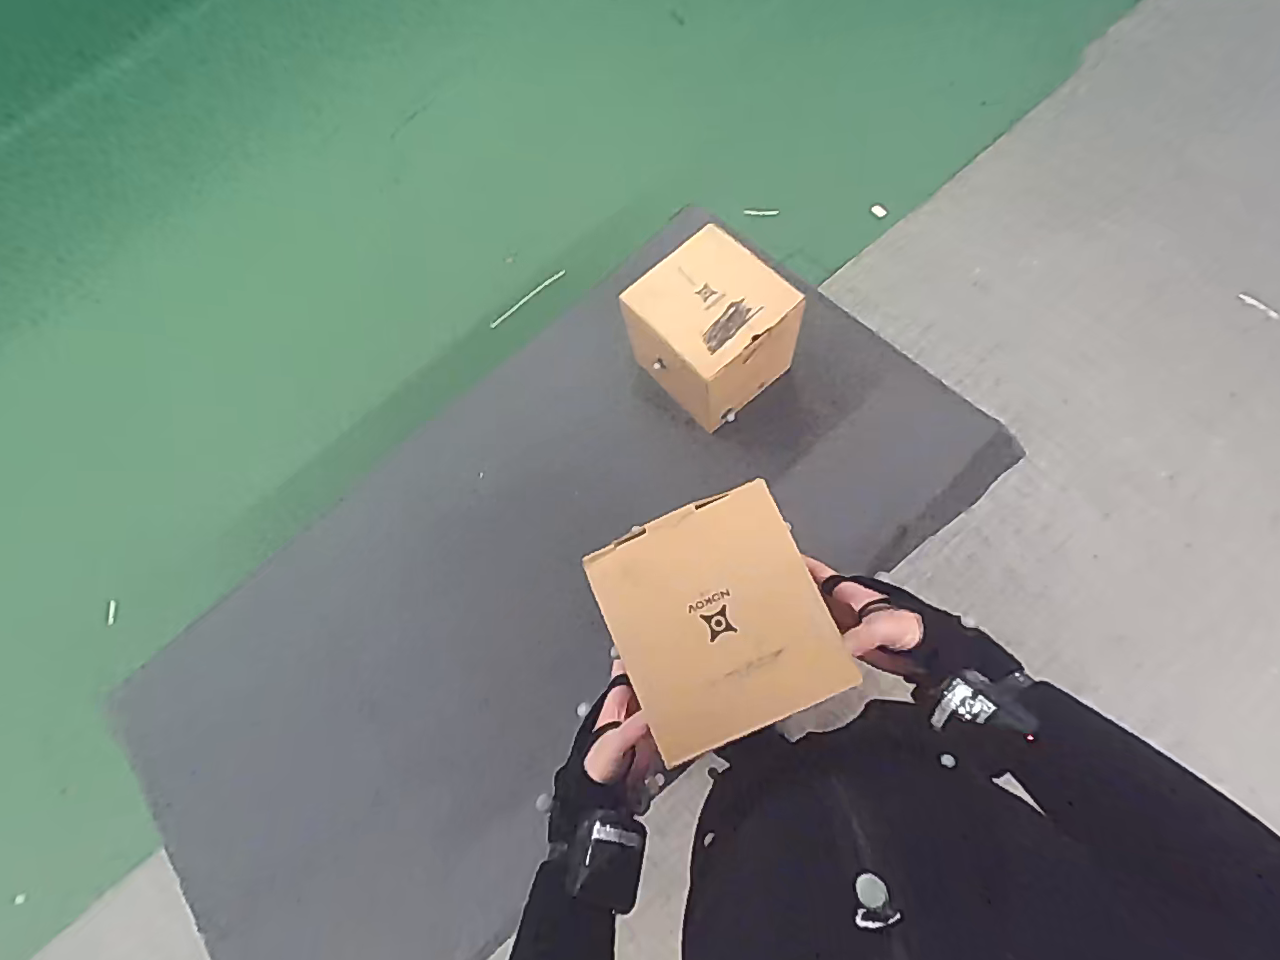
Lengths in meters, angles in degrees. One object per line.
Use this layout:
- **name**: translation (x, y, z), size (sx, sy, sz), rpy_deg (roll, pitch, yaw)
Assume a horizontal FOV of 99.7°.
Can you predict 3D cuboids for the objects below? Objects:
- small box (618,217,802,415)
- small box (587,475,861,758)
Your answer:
- **small box**: translation (0.096, -0.213, 0.755), size (0.168, 0.176, 0.179), rpy_deg (-40, 72, -6)
- **small box**: translation (0.068, 0.115, 0.501), size (0.168, 0.176, 0.179), rpy_deg (-24, 81, 2)
